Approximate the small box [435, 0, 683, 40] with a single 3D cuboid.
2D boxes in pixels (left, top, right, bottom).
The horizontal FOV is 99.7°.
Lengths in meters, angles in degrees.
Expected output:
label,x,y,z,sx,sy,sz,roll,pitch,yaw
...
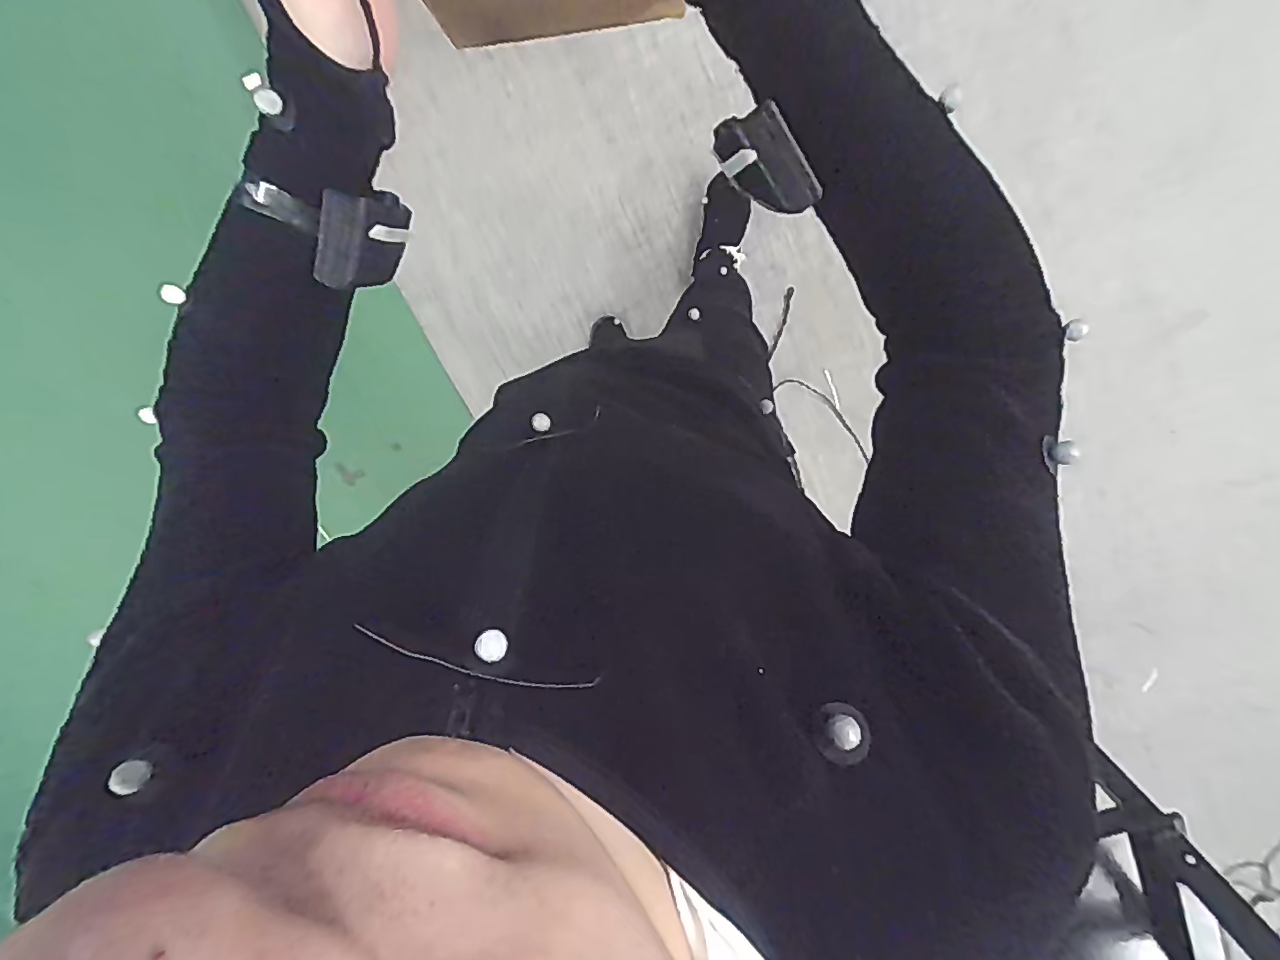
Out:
label,x,y,z,sx,sy,sz,roll,pitch,yaw
small box,-0.062,-0.388,0.300,0.179,0.176,0.168,-2,100,6
